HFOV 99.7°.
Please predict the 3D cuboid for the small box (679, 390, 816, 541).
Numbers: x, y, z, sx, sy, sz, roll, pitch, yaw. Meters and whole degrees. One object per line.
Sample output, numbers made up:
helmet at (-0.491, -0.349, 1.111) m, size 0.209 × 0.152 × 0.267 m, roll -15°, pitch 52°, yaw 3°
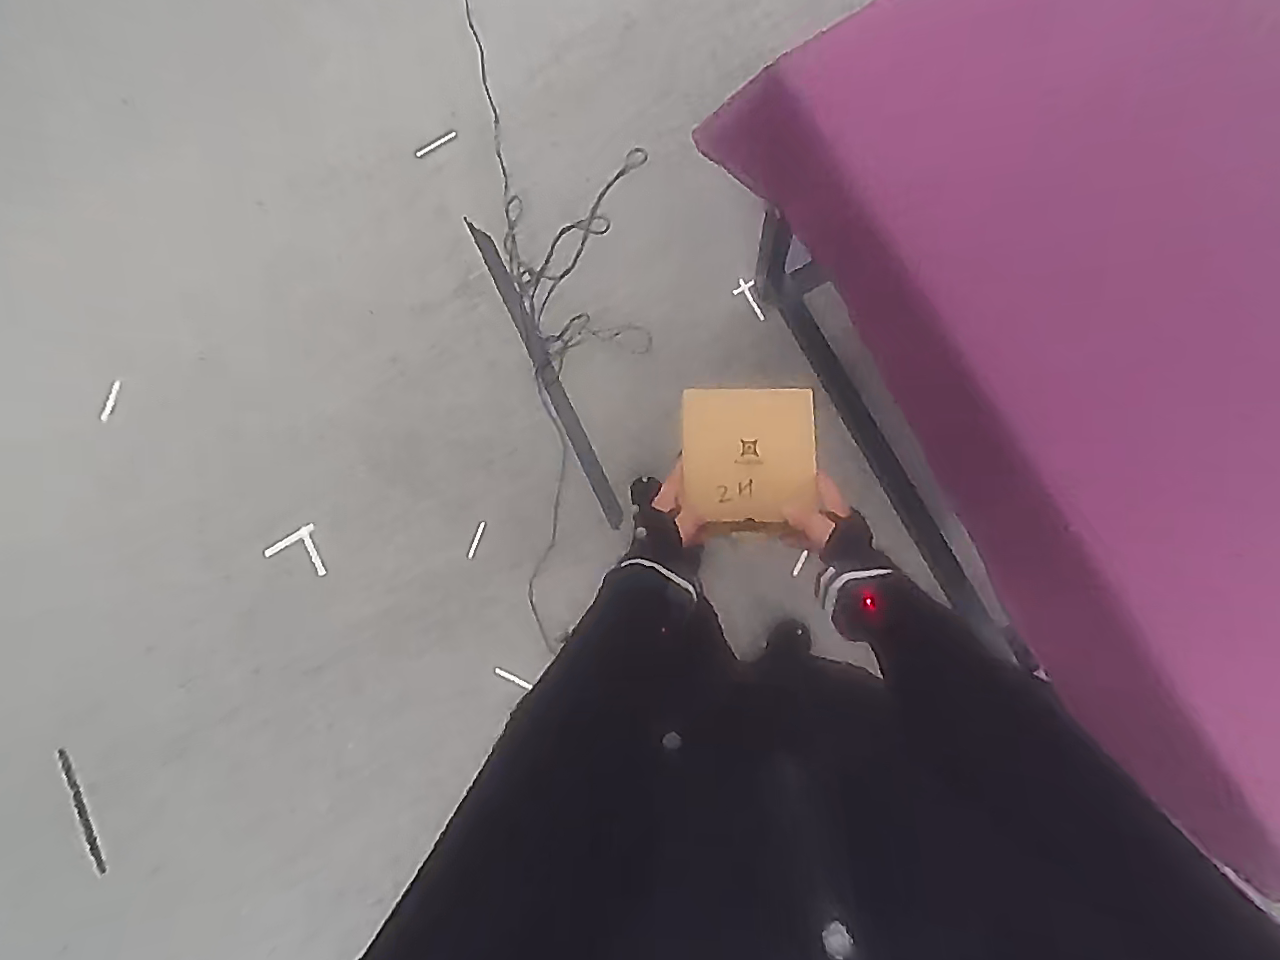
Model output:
small box at (0.138, -0.013, 0.751) m, size 0.168 × 0.176 × 0.179 m, roll 0°, pitch 78°, yaw 5°
